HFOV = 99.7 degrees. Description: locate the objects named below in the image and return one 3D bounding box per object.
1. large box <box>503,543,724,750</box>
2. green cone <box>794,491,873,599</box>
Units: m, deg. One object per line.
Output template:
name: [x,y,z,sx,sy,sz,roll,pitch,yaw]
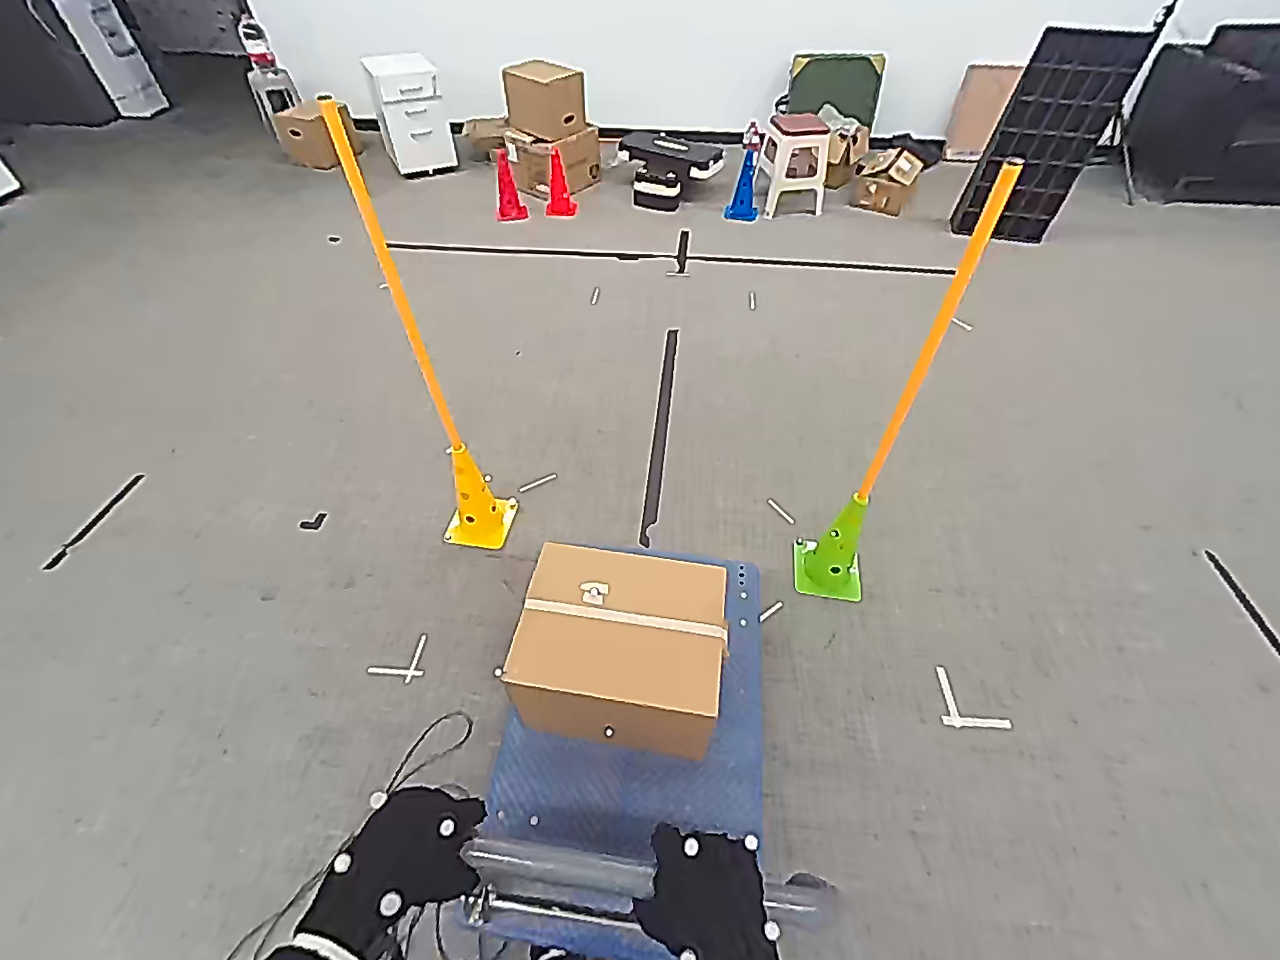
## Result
large box: [-0.035,0.372,1.196,0.408,0.320,0.320,7,50,7]
green cone: [0.594,0.163,1.579,0.202,0.368,0.200,9,49,5]
